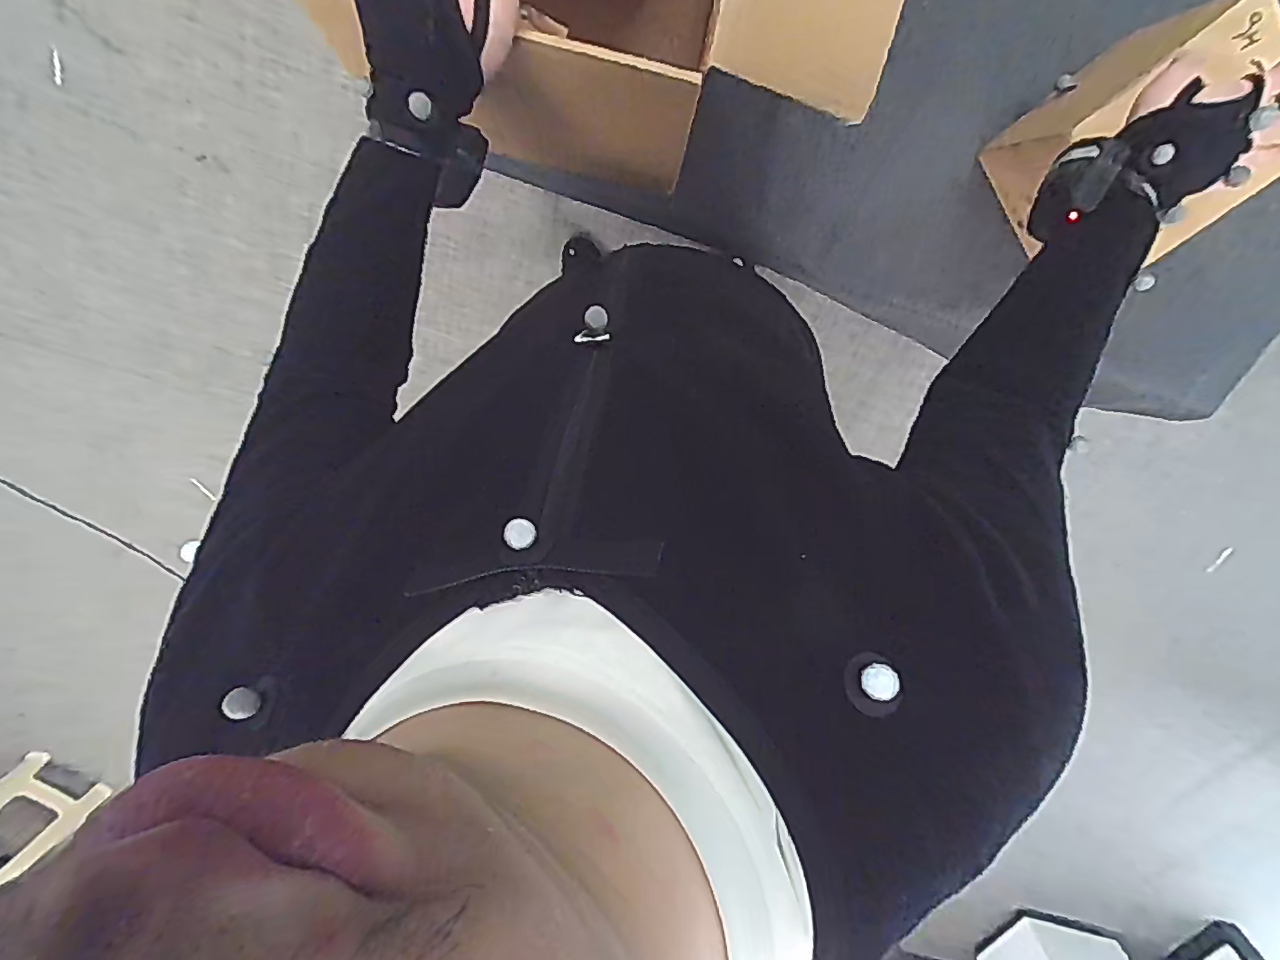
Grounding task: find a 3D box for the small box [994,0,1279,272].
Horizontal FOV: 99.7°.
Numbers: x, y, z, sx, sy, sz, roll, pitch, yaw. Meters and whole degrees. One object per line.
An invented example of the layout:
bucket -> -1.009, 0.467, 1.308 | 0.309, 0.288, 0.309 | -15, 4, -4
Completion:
small box -> 0.529, -0.354, 0.590 | 0.179, 0.176, 0.168 | -36, 108, 18
